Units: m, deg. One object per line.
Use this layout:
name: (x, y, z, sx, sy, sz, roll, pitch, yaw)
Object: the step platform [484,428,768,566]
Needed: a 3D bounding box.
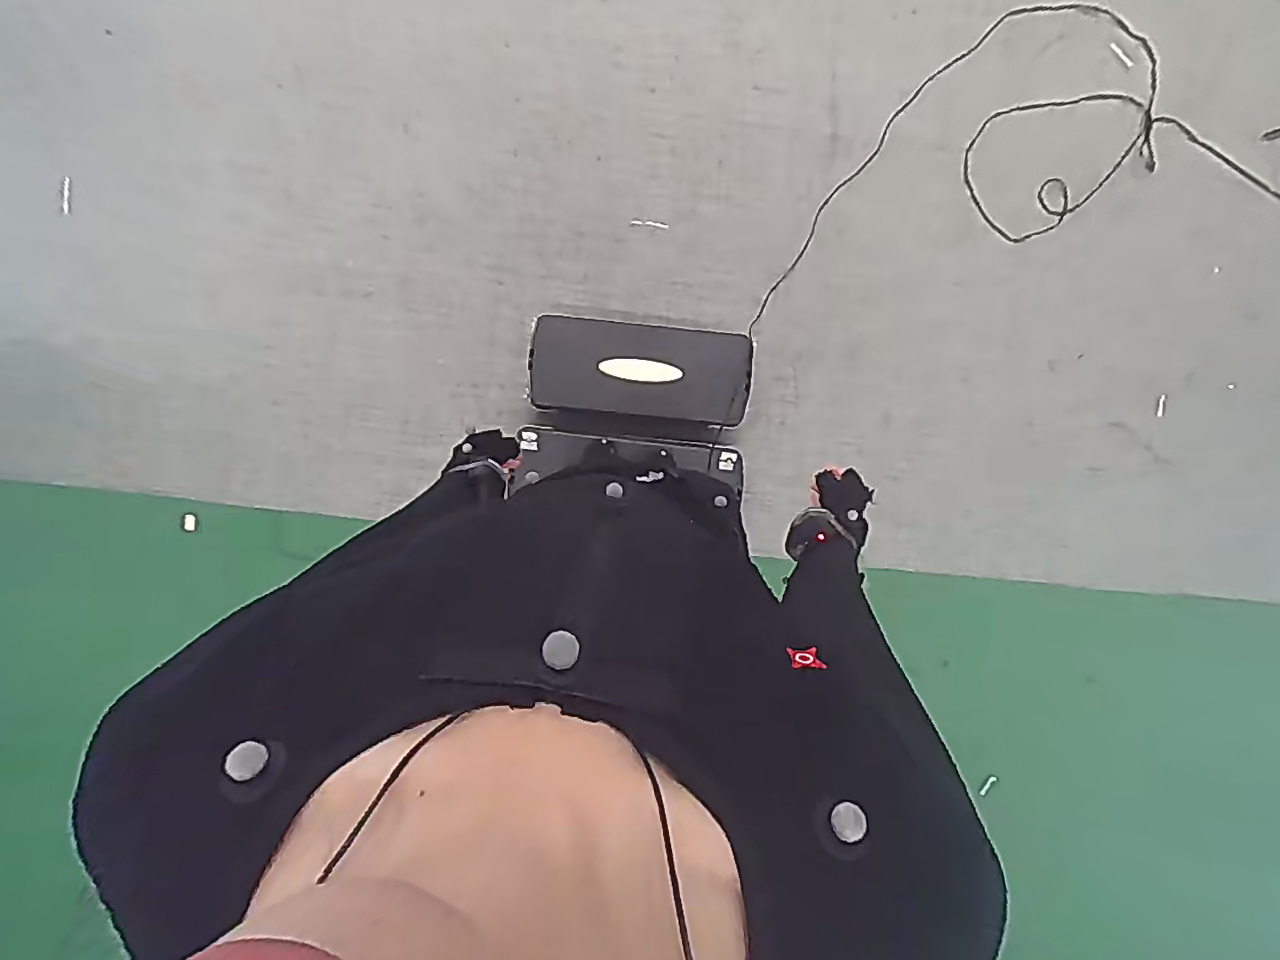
step platform: (-0.034, 0.039, 1.396, 0.684, 0.204, 0.286, 6, 93, -3)
